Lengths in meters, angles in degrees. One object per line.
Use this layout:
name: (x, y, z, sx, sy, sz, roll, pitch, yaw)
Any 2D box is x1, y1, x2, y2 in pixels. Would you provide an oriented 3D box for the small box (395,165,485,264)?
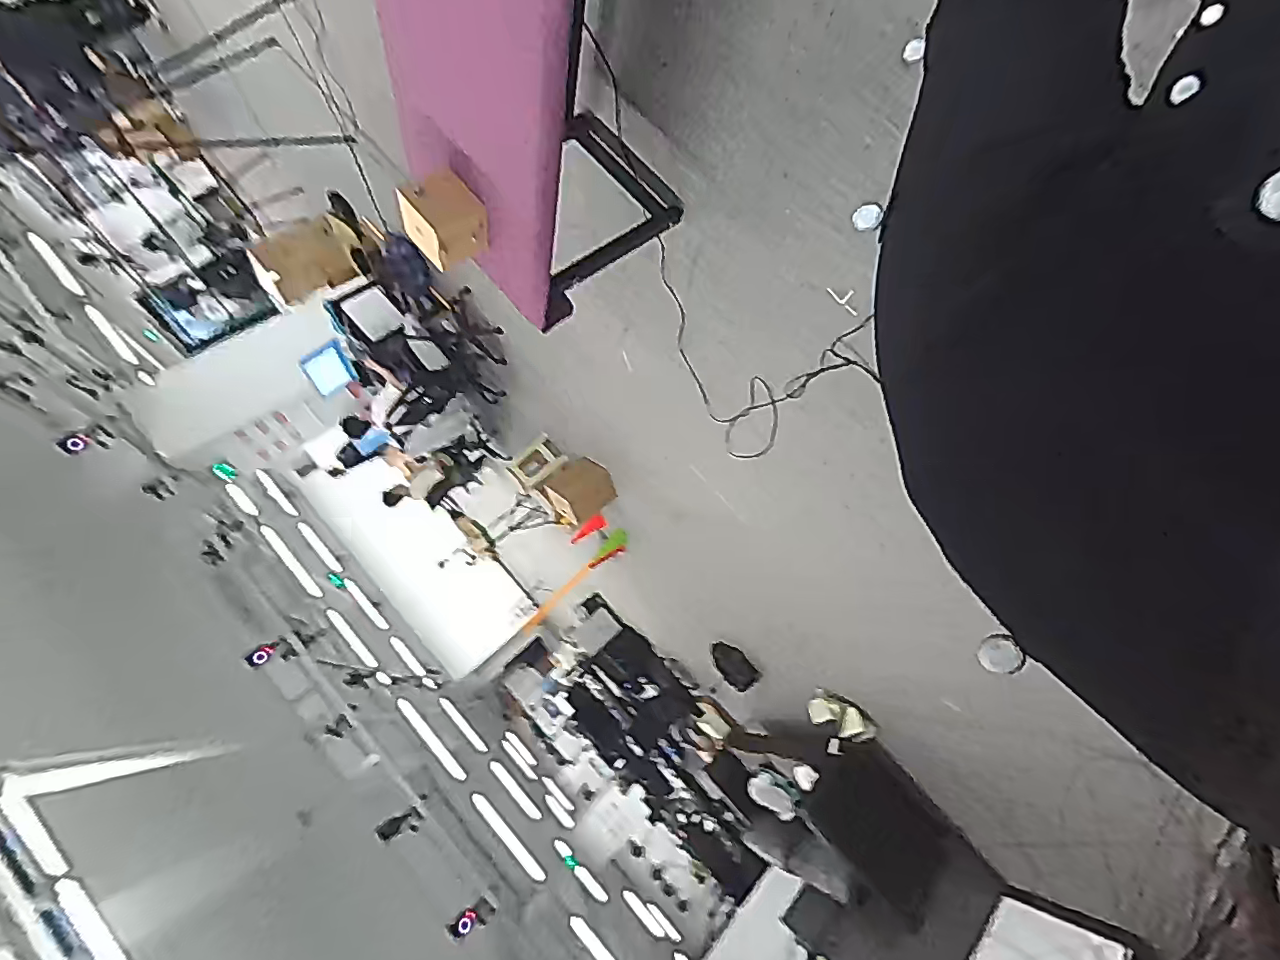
small box: (-0.568, -0.771, 1.557, 0.179, 0.176, 0.168, 48, 158, 6)
